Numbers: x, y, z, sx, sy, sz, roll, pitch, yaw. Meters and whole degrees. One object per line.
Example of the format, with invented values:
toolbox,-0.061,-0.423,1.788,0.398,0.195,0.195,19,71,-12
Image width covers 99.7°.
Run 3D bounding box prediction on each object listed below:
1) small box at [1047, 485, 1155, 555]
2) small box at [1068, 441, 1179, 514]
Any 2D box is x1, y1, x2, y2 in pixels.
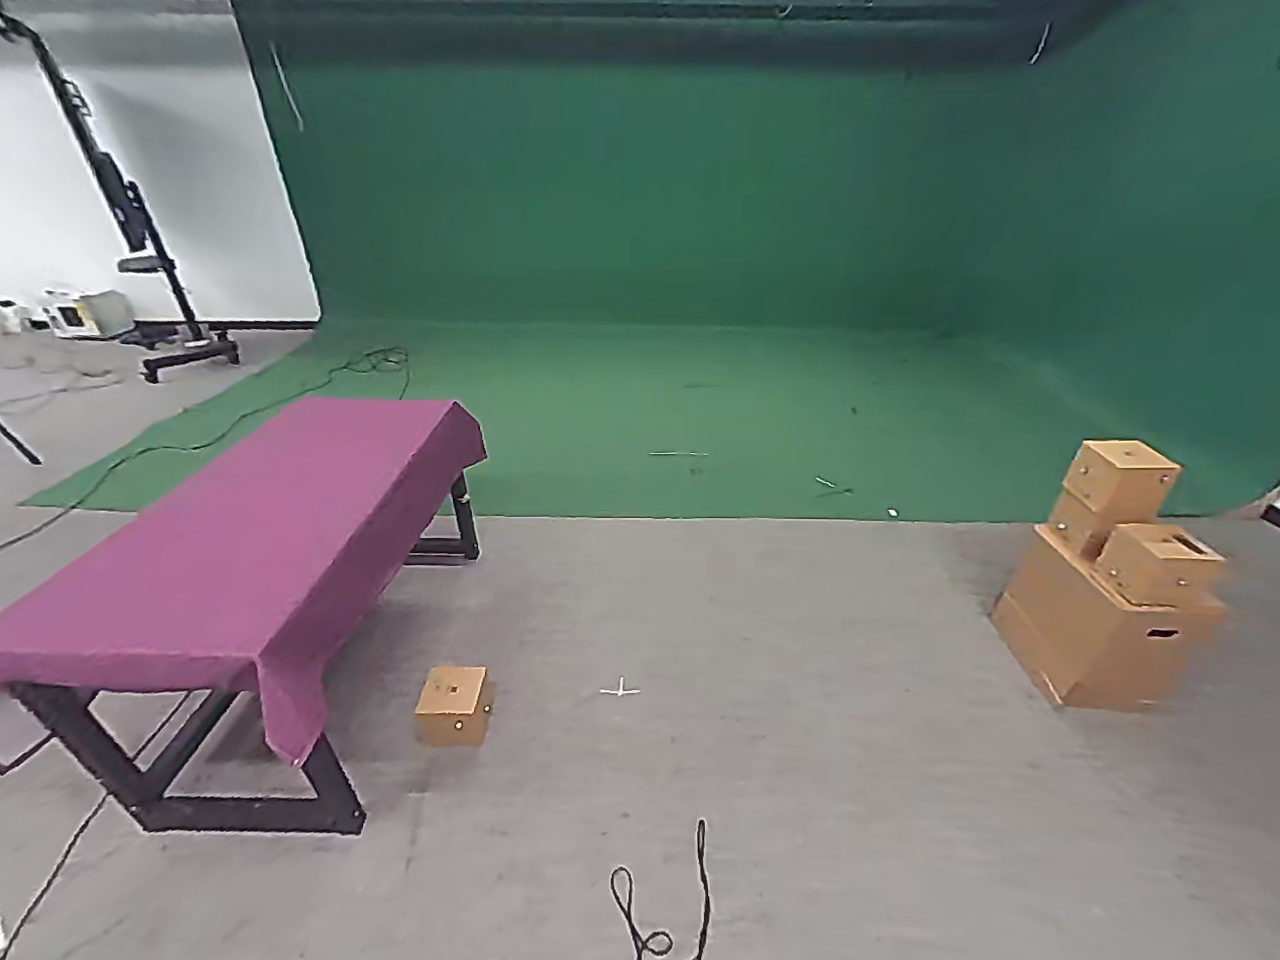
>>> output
small box,1.473,0.130,1.741,0.179,0.176,0.168,-1,34,2
small box,1.460,-0.007,1.654,0.179,0.176,0.168,0,33,1
